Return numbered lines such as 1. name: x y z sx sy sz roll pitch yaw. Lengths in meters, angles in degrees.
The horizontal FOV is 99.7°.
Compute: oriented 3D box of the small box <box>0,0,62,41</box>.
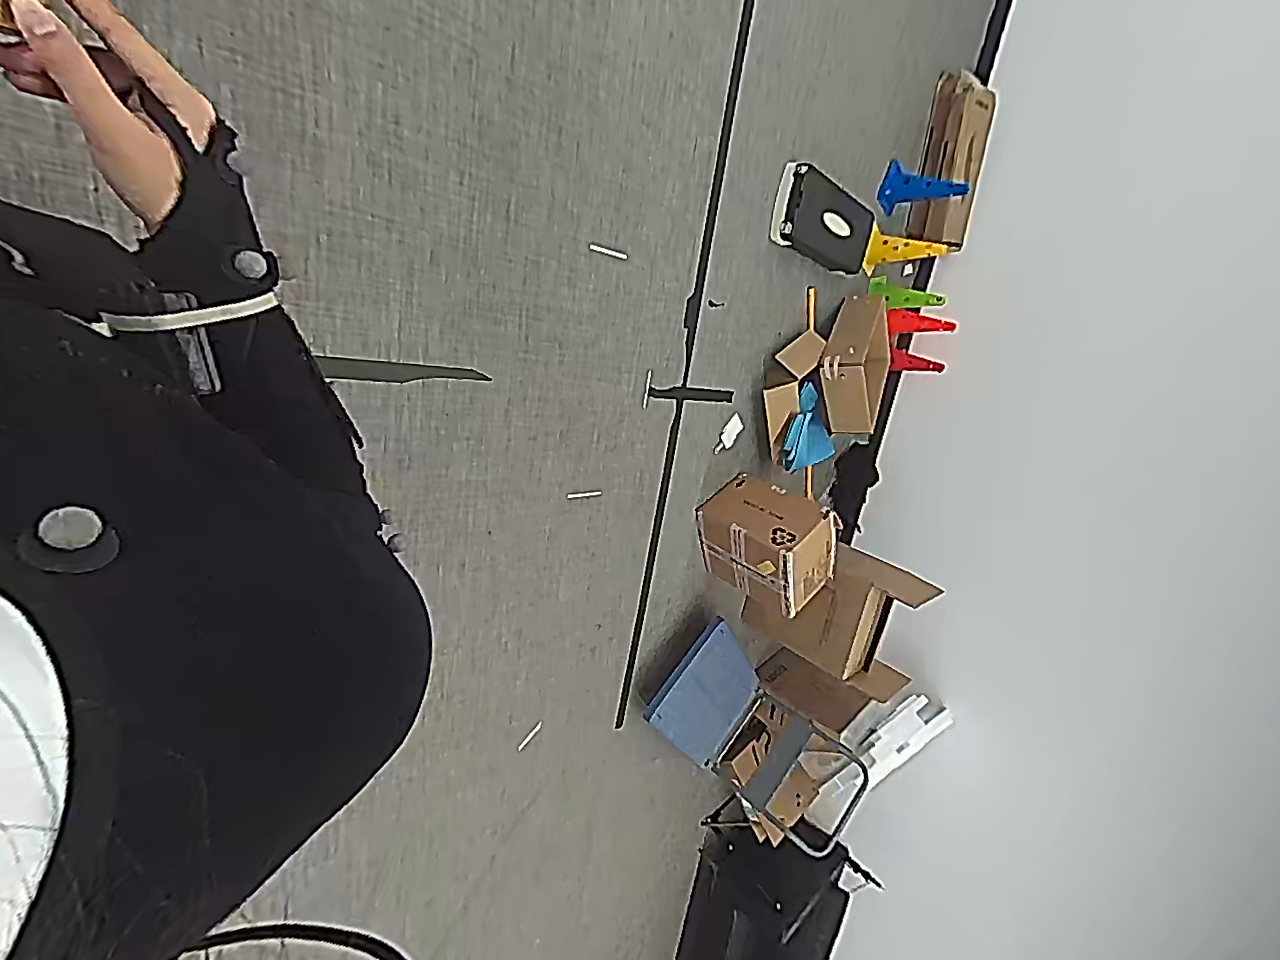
1. small box: -0.358 -0.314 0.211 0.168 0.176 0.179 -7 123 -47
